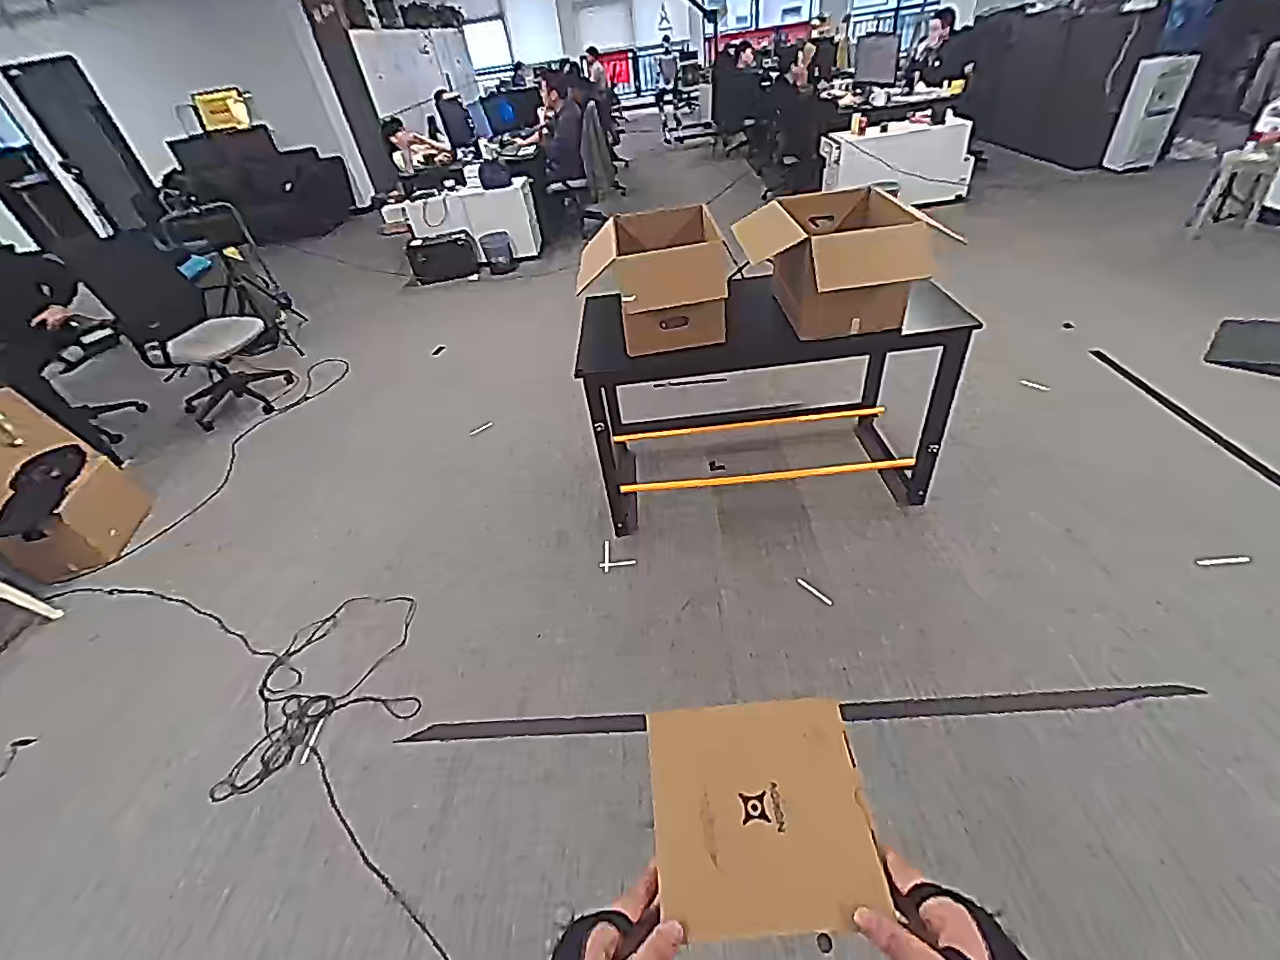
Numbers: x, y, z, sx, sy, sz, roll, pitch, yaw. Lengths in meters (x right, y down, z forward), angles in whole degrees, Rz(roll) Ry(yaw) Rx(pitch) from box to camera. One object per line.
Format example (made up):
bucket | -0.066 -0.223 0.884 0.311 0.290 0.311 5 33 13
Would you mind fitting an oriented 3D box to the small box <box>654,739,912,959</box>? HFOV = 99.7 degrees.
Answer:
small box | 0.108 0.348 0.489 0.179 0.176 0.168 -7 51 1
